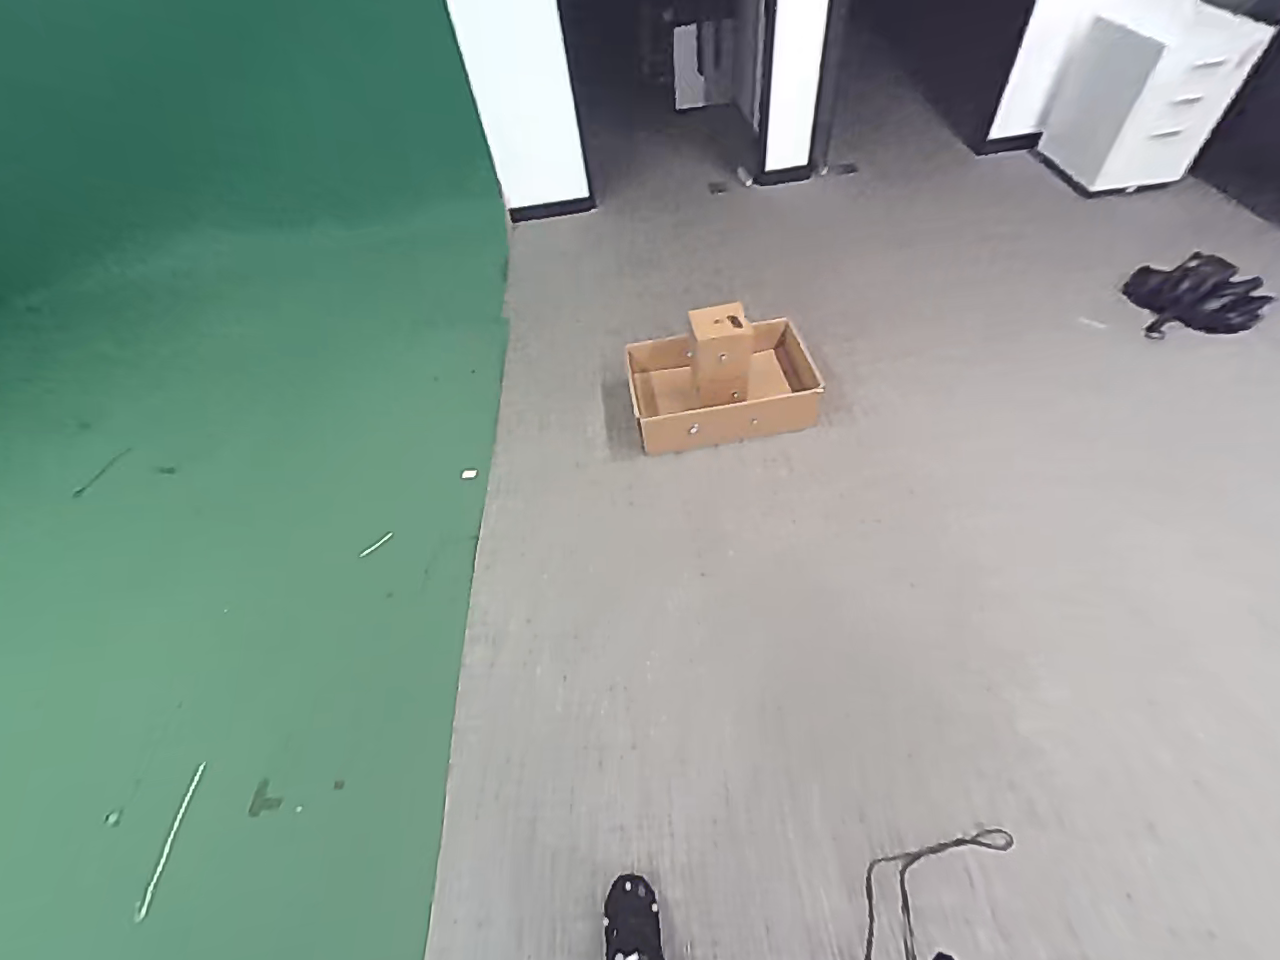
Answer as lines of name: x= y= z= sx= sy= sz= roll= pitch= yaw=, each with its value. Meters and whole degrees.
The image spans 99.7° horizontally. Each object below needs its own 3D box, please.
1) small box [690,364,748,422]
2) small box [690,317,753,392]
small box: x=0.276 y=-0.319 z=1.896 sx=0.168 sy=0.176 sz=0.179 roll=-10 pitch=49 yaw=-1
small box: x=0.263 y=-0.409 z=1.779 sx=0.179 sy=0.176 sz=0.168 roll=-9 pitch=50 yaw=0
